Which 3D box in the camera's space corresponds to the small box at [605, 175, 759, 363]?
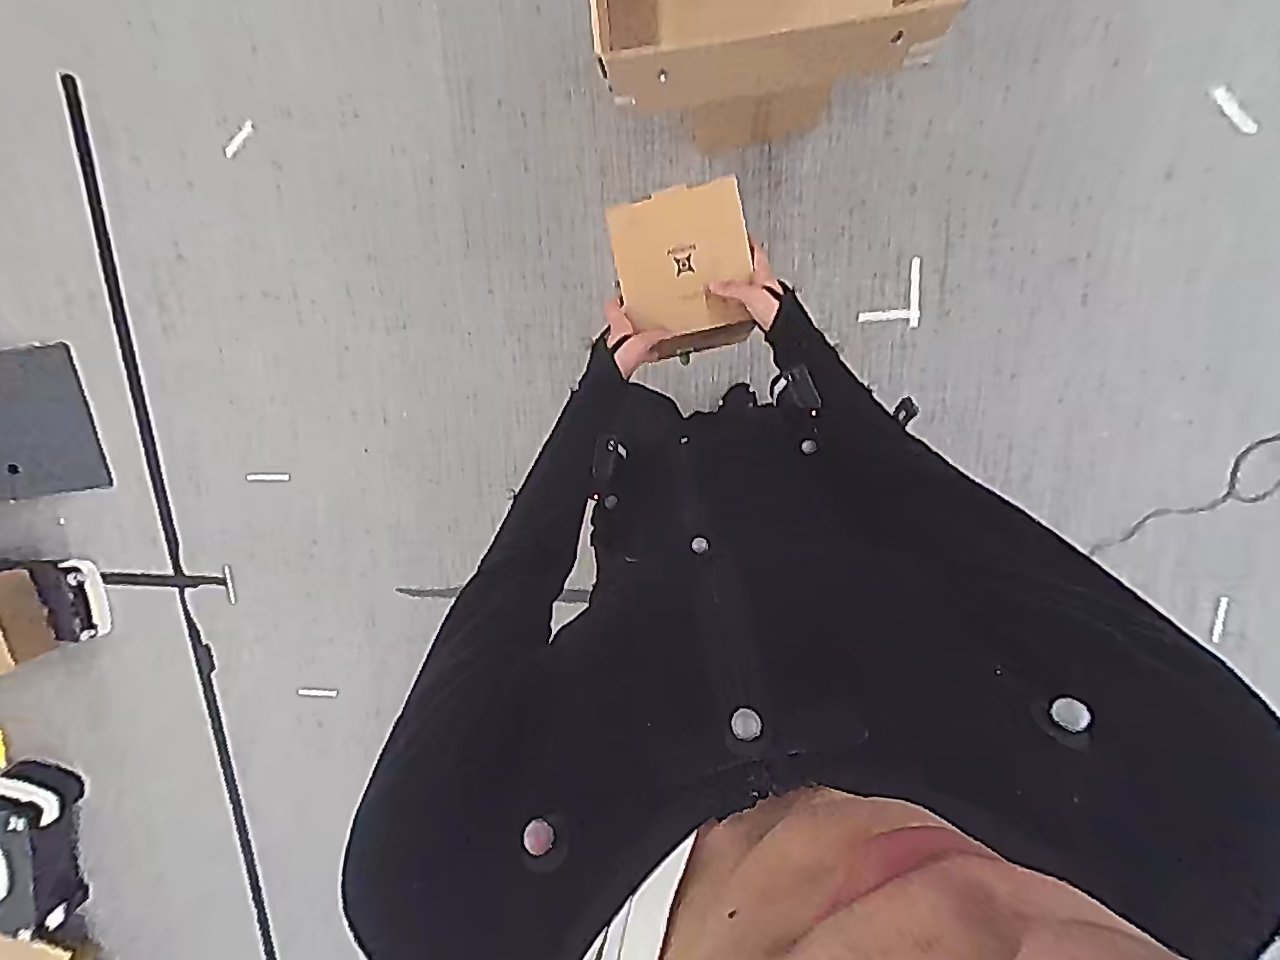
[{"bbox_3d":[0.055,-0.273,0.740,0.168,0.176,0.179,-11,93,5],"label":"small box"}]
